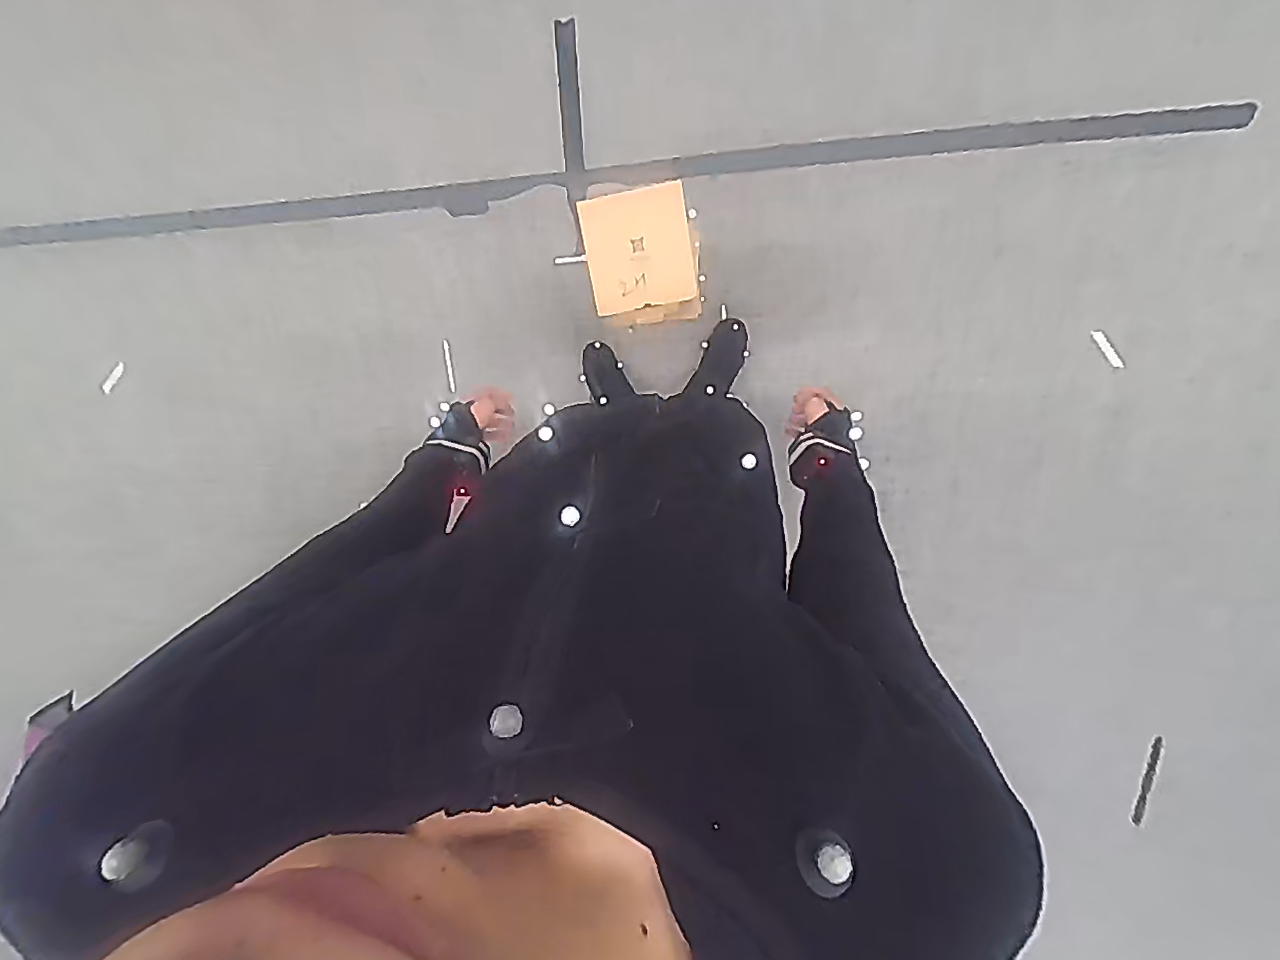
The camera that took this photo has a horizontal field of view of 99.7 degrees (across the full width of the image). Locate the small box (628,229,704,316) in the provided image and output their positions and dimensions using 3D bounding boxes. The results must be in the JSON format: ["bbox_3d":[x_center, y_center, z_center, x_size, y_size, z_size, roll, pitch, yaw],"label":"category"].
[{"bbox_3d":[0.055,-0.471,1.236,0.168,0.176,0.179,2,110,4],"label":"small box"}]

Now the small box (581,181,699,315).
[{"bbox_3d":[0.006,-0.384,0.921,0.168,0.176,0.179,-8,108,8],"label":"small box"}]
